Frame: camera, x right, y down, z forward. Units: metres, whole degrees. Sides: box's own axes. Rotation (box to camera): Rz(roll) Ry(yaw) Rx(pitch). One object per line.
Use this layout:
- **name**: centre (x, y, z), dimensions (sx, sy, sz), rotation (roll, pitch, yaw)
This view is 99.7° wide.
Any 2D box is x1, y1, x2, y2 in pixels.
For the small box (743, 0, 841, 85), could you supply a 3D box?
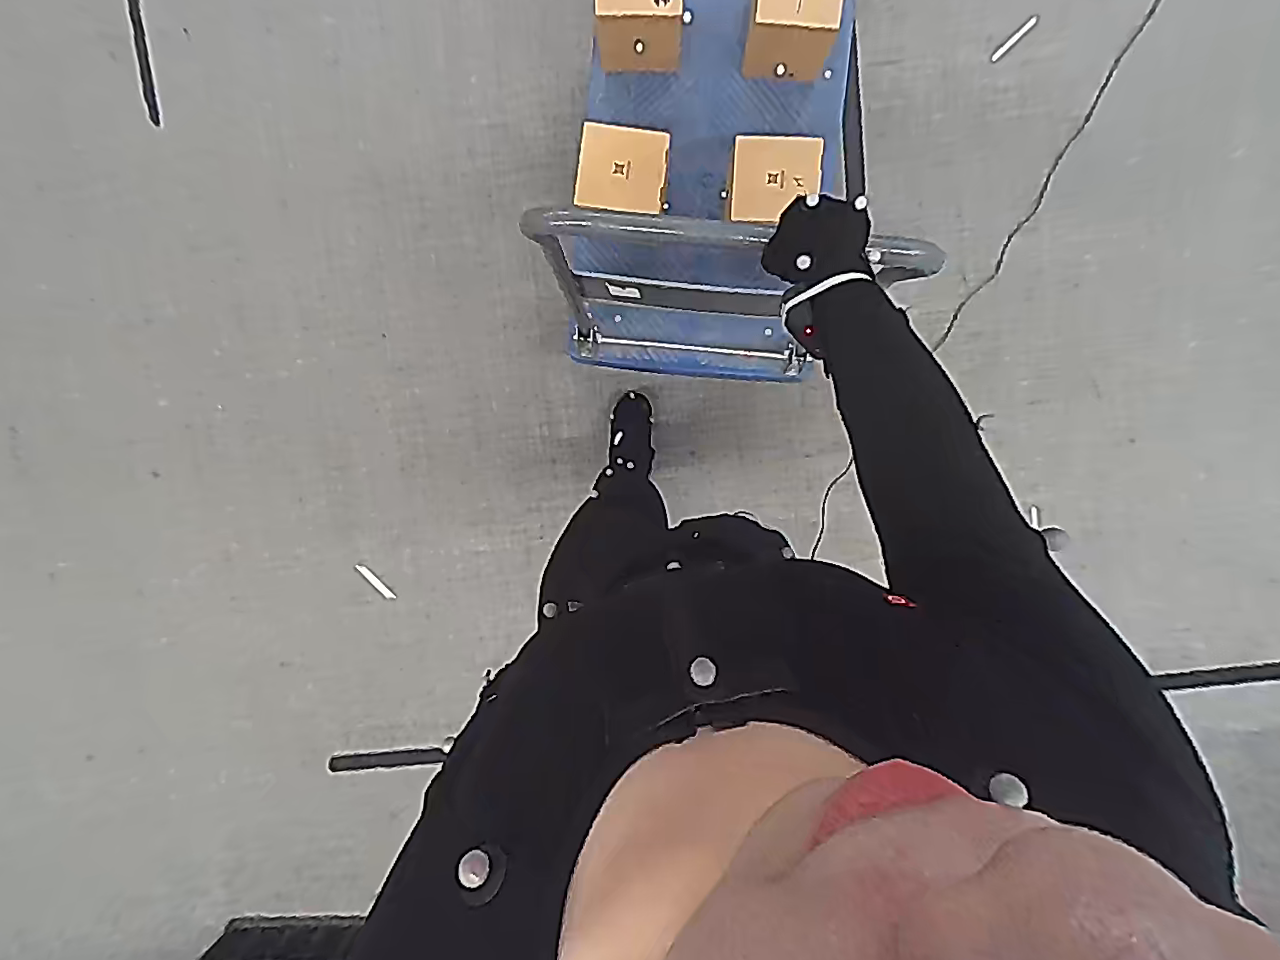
- **small box**: centre (0.315, -0.975, 1.128), dimensions (0.168, 0.176, 0.179), rotation (6, 95, 2)

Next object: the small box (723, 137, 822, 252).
- **small box**: centre (0.274, -0.601, 1.155), dimensions (0.179, 0.176, 0.168), rotation (3, 94, 2)

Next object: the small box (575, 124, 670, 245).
- **small box**: centre (-0.035, -0.625, 1.165), dimensions (0.179, 0.176, 0.168), rotation (8, 94, 0)
